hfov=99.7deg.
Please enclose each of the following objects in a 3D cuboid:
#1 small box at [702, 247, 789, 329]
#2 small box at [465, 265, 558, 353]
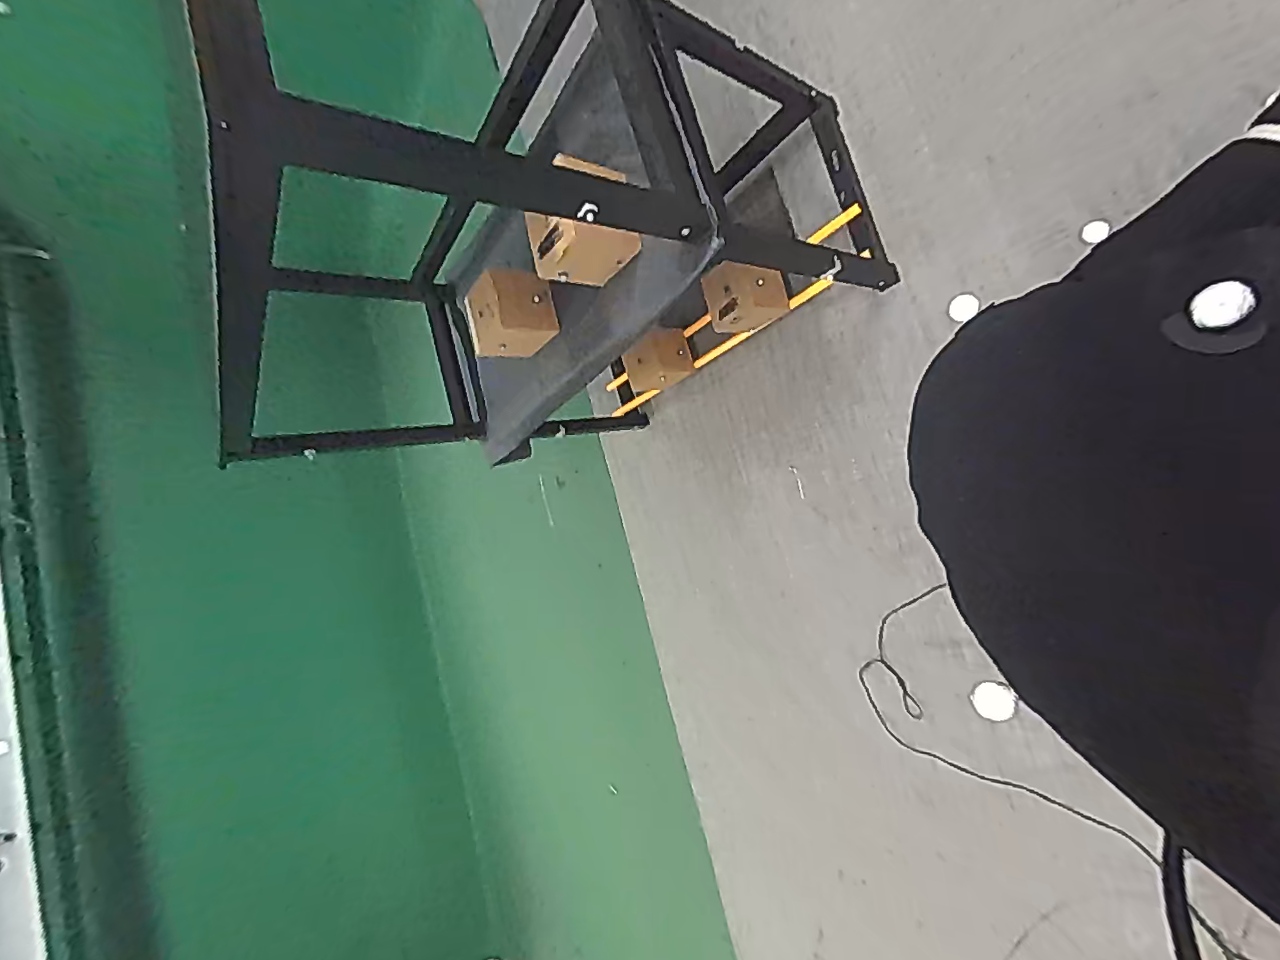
[{"bbox_3d":[0.316,-0.560,1.602,0.168,0.176,0.179,-19,83,51],"label":"small box"},{"bbox_3d":[-0.342,-0.444,1.438,0.179,0.176,0.168,-20,83,51],"label":"small box"}]
